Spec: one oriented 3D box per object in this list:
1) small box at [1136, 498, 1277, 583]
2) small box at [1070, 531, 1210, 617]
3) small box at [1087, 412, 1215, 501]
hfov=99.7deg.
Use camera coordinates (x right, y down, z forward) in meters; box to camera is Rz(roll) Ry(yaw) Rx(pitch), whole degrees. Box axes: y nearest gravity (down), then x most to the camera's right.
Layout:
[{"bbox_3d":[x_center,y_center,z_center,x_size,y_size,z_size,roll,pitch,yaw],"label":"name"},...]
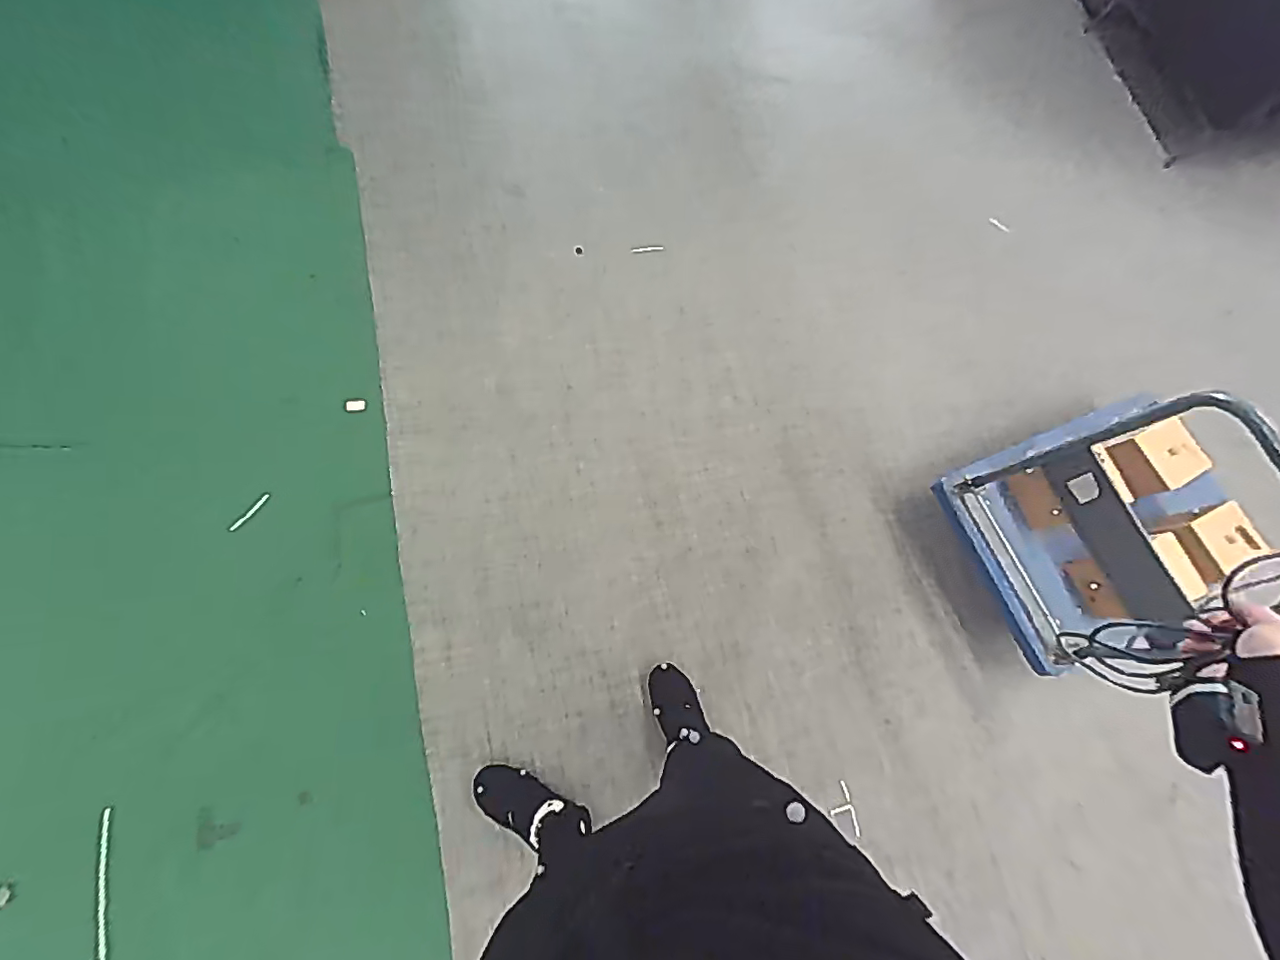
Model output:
[{"bbox_3d":[1.510,0.170,1.455,0.179,0.176,0.168,-22,76,-13],"label":"small box"},{"bbox_3d":[1.285,0.248,1.402,0.179,0.176,0.168,-19,76,-12],"label":"small box"},{"bbox_3d":[1.412,-0.060,1.512,0.179,0.176,0.168,-24,78,-14],"label":"small box"}]
